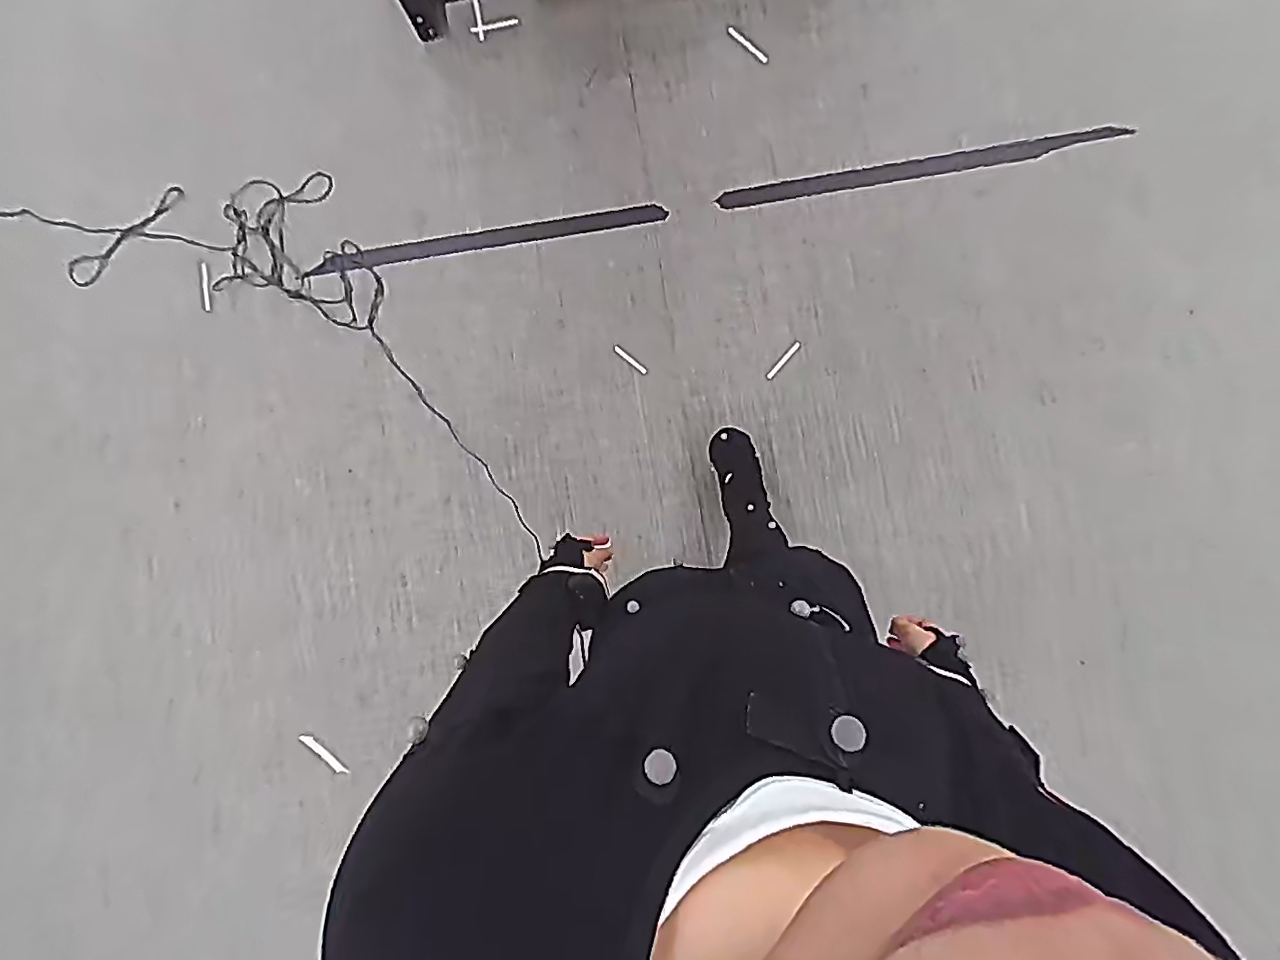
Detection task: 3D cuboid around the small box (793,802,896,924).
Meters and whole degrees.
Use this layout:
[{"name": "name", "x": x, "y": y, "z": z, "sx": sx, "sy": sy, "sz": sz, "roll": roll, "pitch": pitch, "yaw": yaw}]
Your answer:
[{"name": "small box", "x": 0.462, "y": 0.879, "z": 1.254, "sx": 0.179, "sy": 0.176, "sz": 0.168, "roll": -8, "pitch": 86, "yaw": 2}]

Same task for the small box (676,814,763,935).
[{"name": "small box", "x": 0.181, "y": 0.920, "z": 1.274, "sx": 0.179, "sy": 0.176, "sz": 0.168, "roll": -7, "pitch": 86, "yaw": 3}]
